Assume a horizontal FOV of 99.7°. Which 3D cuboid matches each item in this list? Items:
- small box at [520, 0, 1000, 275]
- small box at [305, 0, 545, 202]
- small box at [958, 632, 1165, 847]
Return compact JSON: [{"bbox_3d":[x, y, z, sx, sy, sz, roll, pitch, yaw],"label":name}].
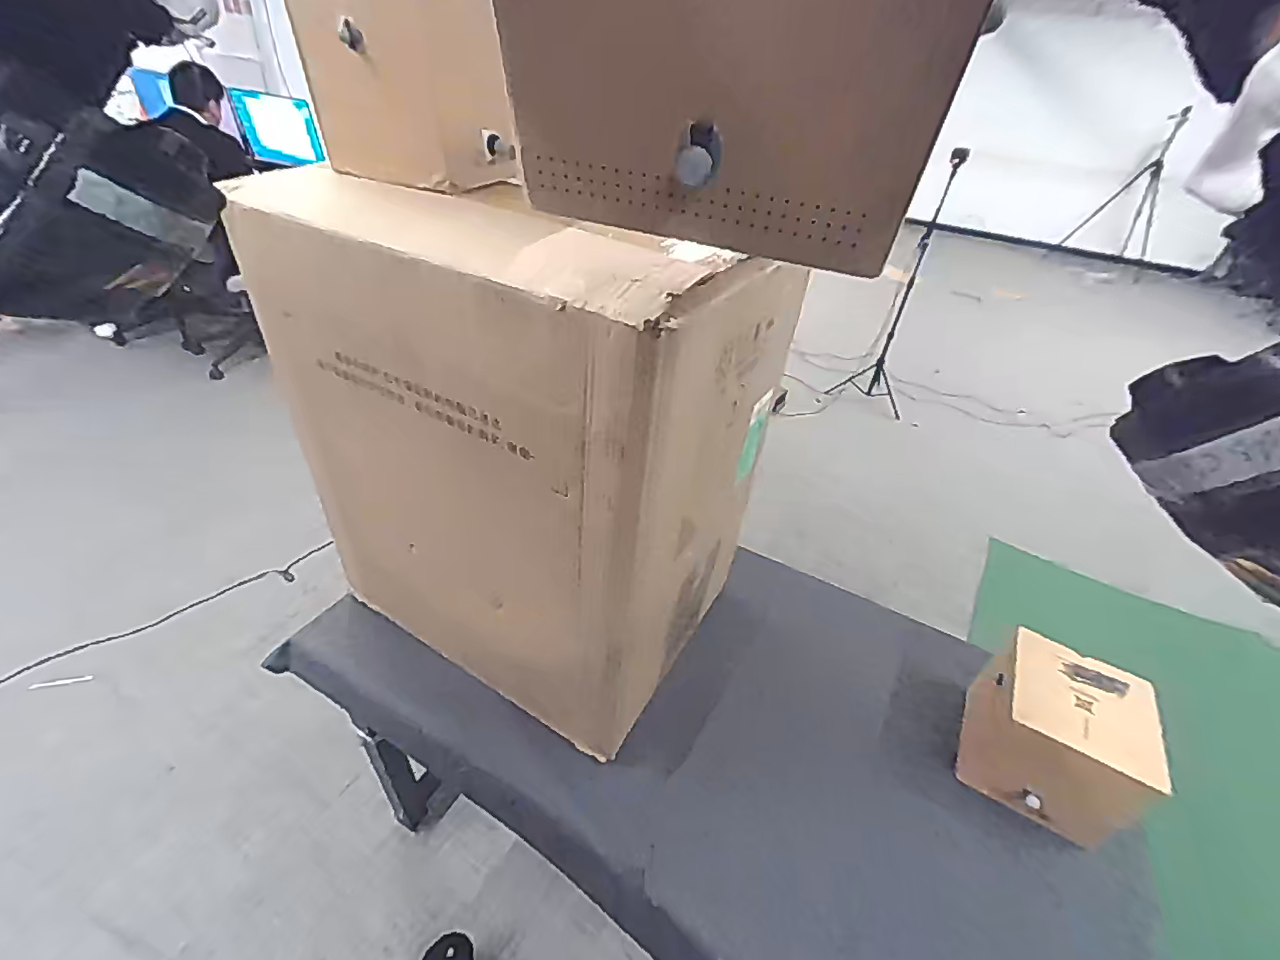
[{"bbox_3d":[0.059,-0.219,0.245,0.179,0.176,0.168,17,54,11],"label":"small box"},{"bbox_3d":[-0.216,-0.419,0.593,0.179,0.176,0.168,20,44,17],"label":"small box"},{"bbox_3d":[0.571,0.358,0.757,0.168,0.176,0.179,24,41,23],"label":"small box"}]
